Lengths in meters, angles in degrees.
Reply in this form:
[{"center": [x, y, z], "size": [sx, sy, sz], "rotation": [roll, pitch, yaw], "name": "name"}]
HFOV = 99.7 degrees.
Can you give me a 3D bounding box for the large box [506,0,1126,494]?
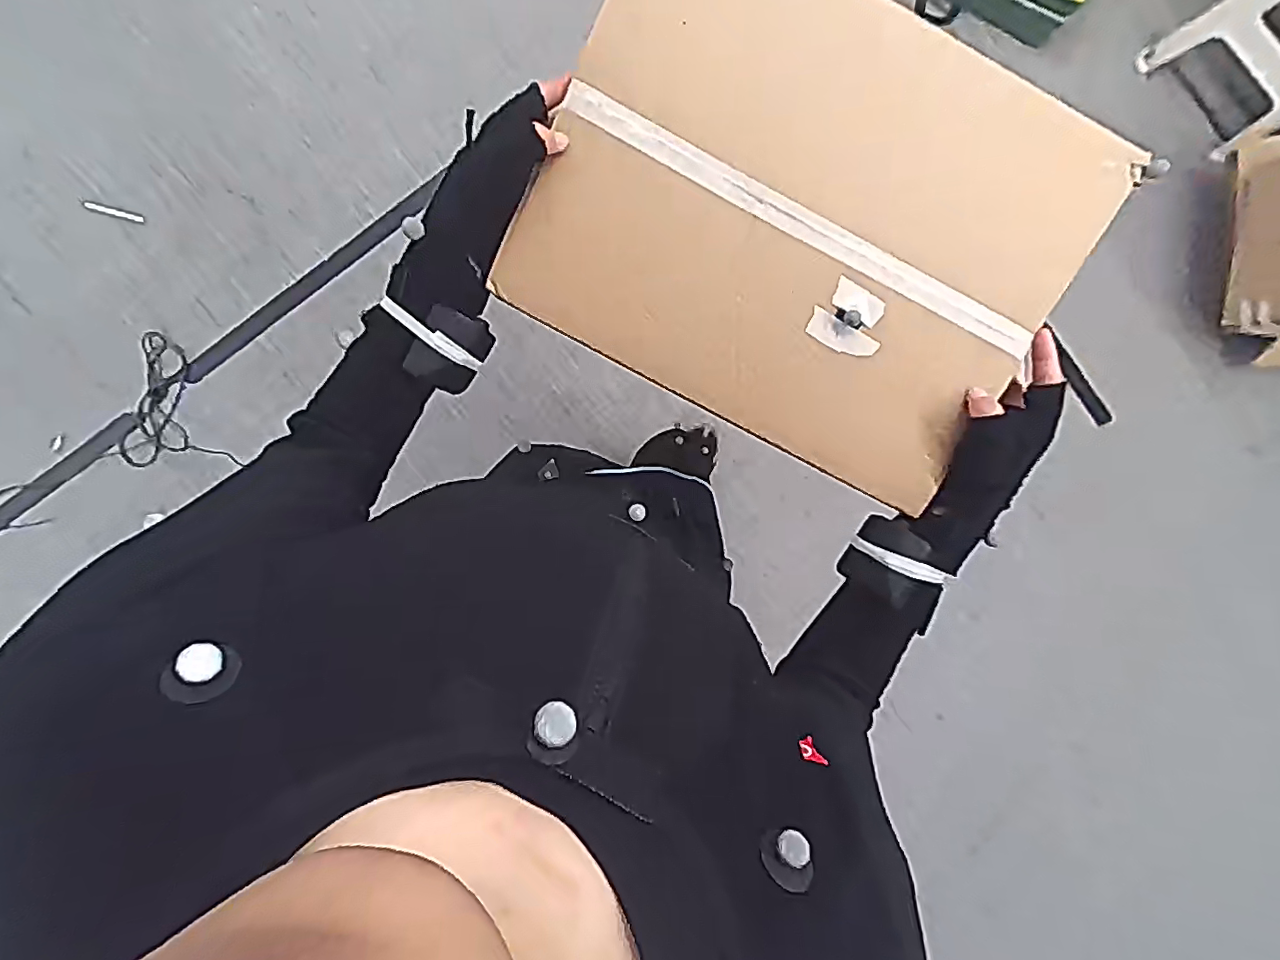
[{"center": [0.133, -0.235, 0.574], "size": [0.408, 0.320, 0.320], "rotation": [28, 102, -4], "name": "large box"}]
